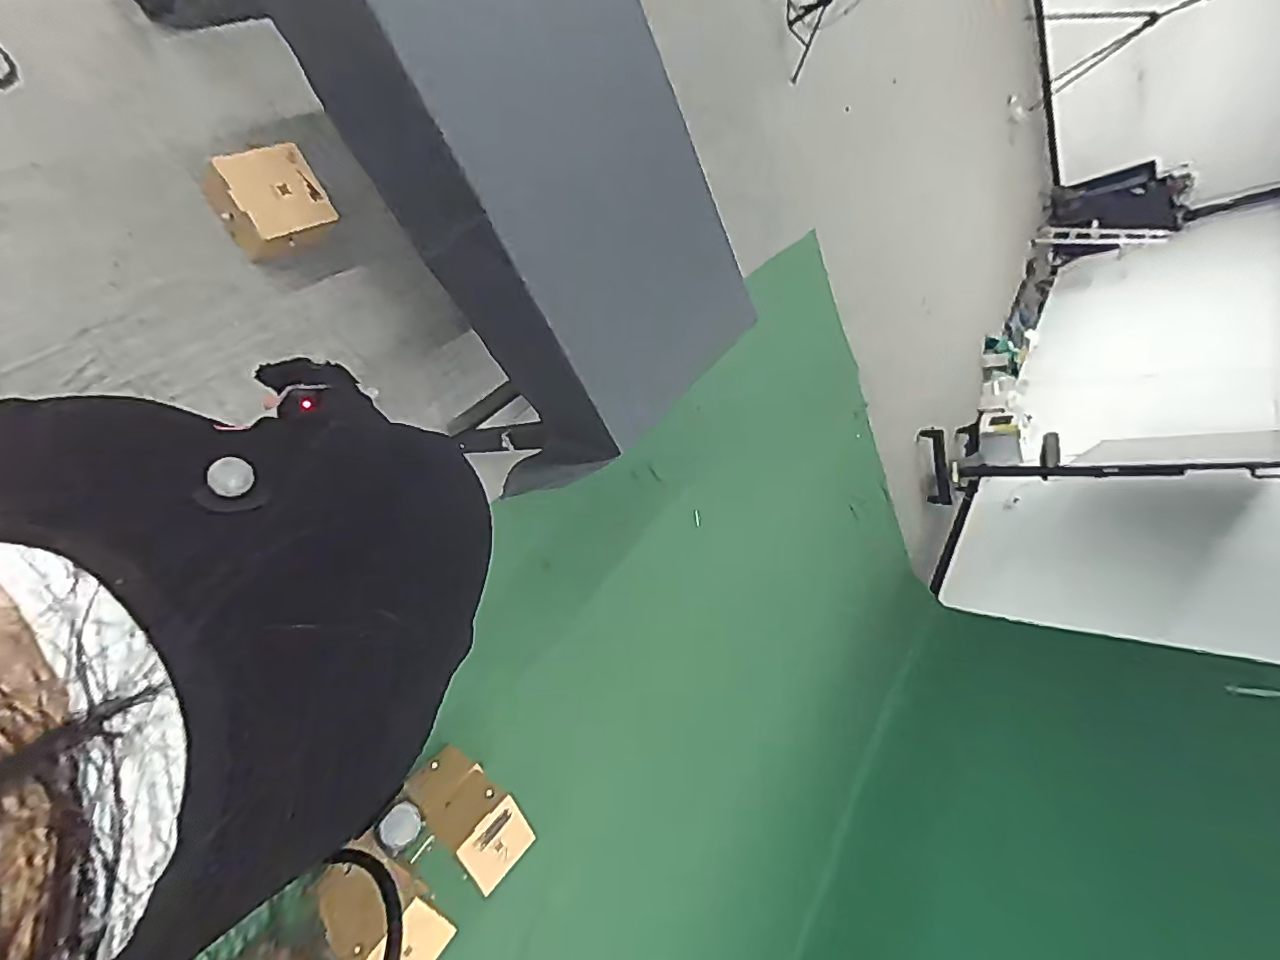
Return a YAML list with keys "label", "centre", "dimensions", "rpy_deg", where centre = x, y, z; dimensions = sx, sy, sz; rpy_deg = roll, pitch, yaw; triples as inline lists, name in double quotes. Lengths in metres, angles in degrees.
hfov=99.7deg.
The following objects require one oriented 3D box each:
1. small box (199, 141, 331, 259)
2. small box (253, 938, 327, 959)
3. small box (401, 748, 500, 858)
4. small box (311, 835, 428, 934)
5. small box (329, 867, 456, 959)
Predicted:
- label: "small box"
  centre: [-0.832, -0.611, 1.195]
  dimensions: [0.179, 0.176, 0.168]
  rpy_deg: [-43, 119, -35]
- label: "small box"
  centre: [-0.815, 1.195, 1.225]
  dimensions: [0.168, 0.176, 0.179]
  rpy_deg: [-53, 124, -31]
- label: "small box"
  centre: [-0.529, 0.889, 1.508]
  dimensions: [0.168, 0.176, 0.179]
  rpy_deg: [-36, 114, -40]
- label: "small box"
  centre: [-0.681, 1.033, 1.356]
  dimensions: [0.168, 0.176, 0.179]
  rpy_deg: [-50, 123, -33]
- label: "small box"
  centre: [-0.568, 1.042, 1.239]
  dimensions: [0.179, 0.176, 0.168]
  rpy_deg: [-46, 121, -34]
